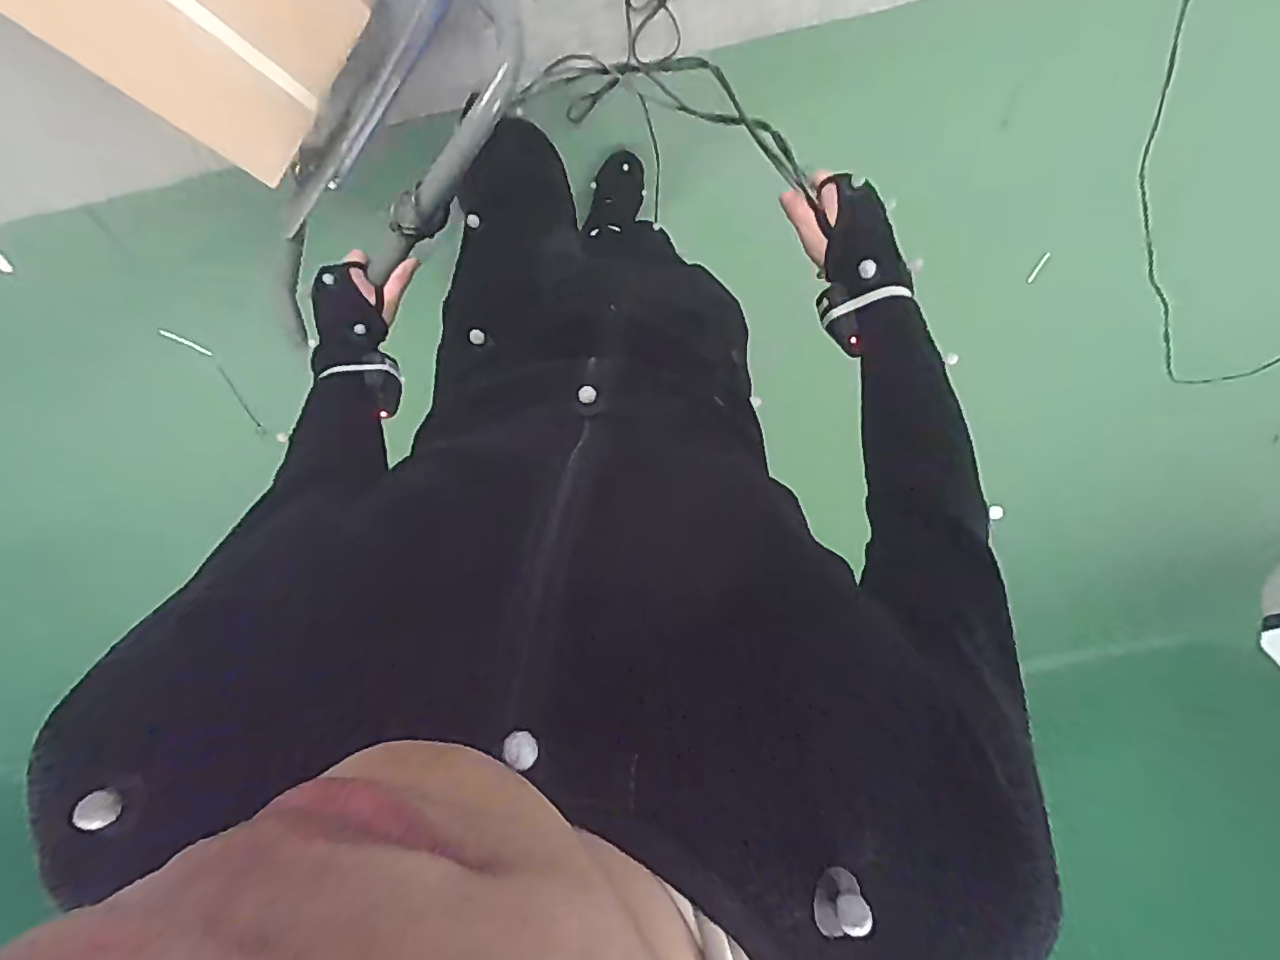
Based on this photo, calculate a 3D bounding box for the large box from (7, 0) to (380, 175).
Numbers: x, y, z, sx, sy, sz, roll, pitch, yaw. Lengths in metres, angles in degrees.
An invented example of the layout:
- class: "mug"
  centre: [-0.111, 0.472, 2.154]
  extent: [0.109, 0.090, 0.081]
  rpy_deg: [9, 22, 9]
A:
- class: "large box"
  centre: [-0.637, -0.752, 0.781]
  extent: [0.320, 0.320, 0.408]
  rpy_deg: [-41, 134, 23]
